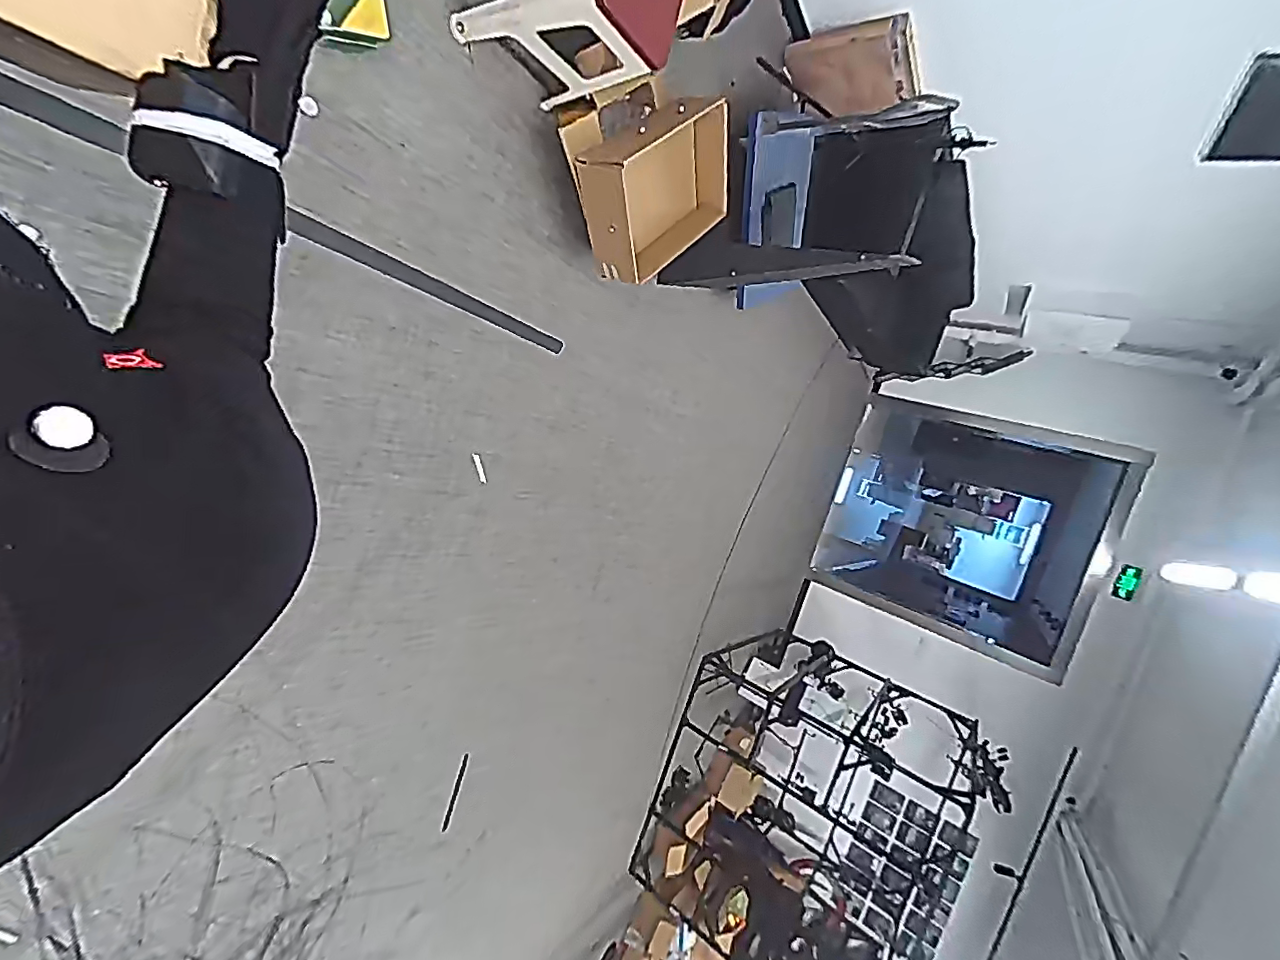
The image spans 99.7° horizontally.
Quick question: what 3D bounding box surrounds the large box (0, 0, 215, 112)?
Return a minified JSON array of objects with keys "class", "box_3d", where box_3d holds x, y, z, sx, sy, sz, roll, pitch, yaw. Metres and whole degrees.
[{"class":"large box","box_3d":[-0.492,-0.453,0.257,0.408,0.320,0.320,-3,117,-59]}]
